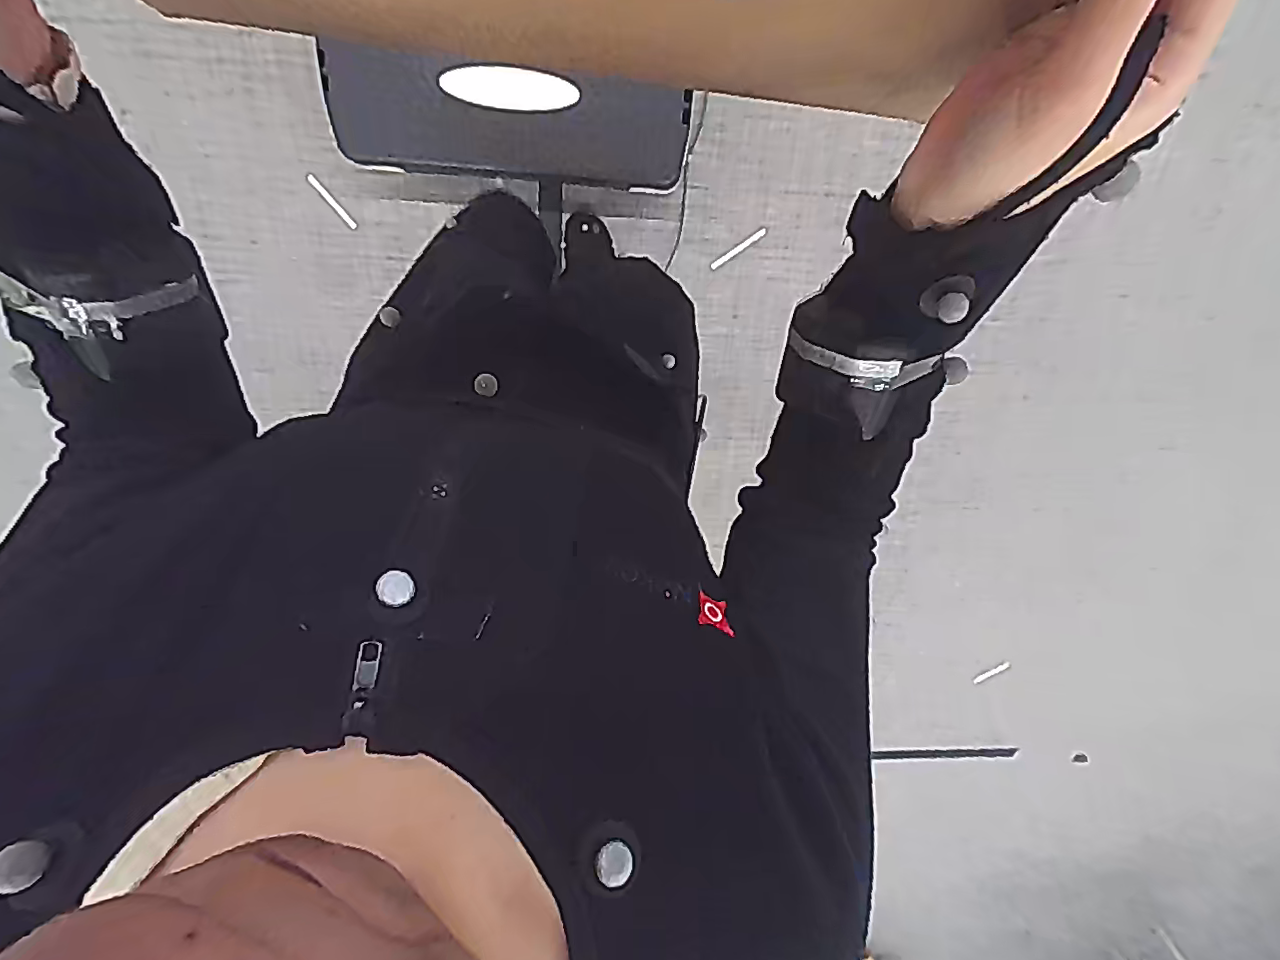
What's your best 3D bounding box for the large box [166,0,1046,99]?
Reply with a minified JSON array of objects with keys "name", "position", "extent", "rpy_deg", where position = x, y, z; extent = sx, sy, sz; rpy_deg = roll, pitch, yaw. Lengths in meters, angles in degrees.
[{"name":"large box","position":[-0.020,-0.341,0.111],"extent":[0.408,0.320,0.320],"rpy_deg":[4,103,-4]}]
